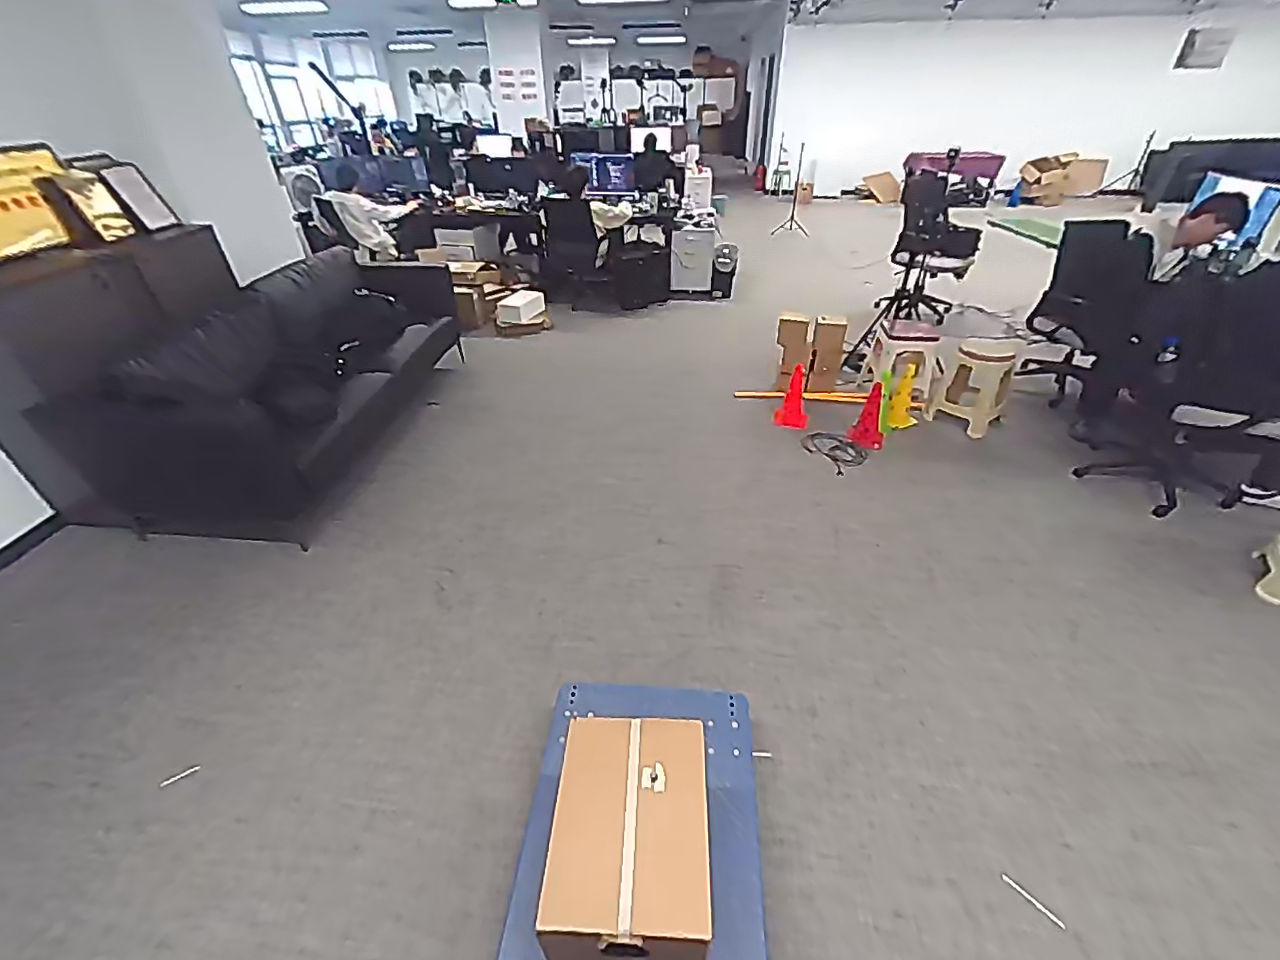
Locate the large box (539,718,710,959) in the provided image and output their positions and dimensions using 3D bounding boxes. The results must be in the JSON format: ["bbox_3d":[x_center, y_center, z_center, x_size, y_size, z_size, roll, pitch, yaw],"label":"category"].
[{"bbox_3d":[-0.018,0.803,1.198,0.320,0.320,0.408,1,36,3],"label":"large box"}]
